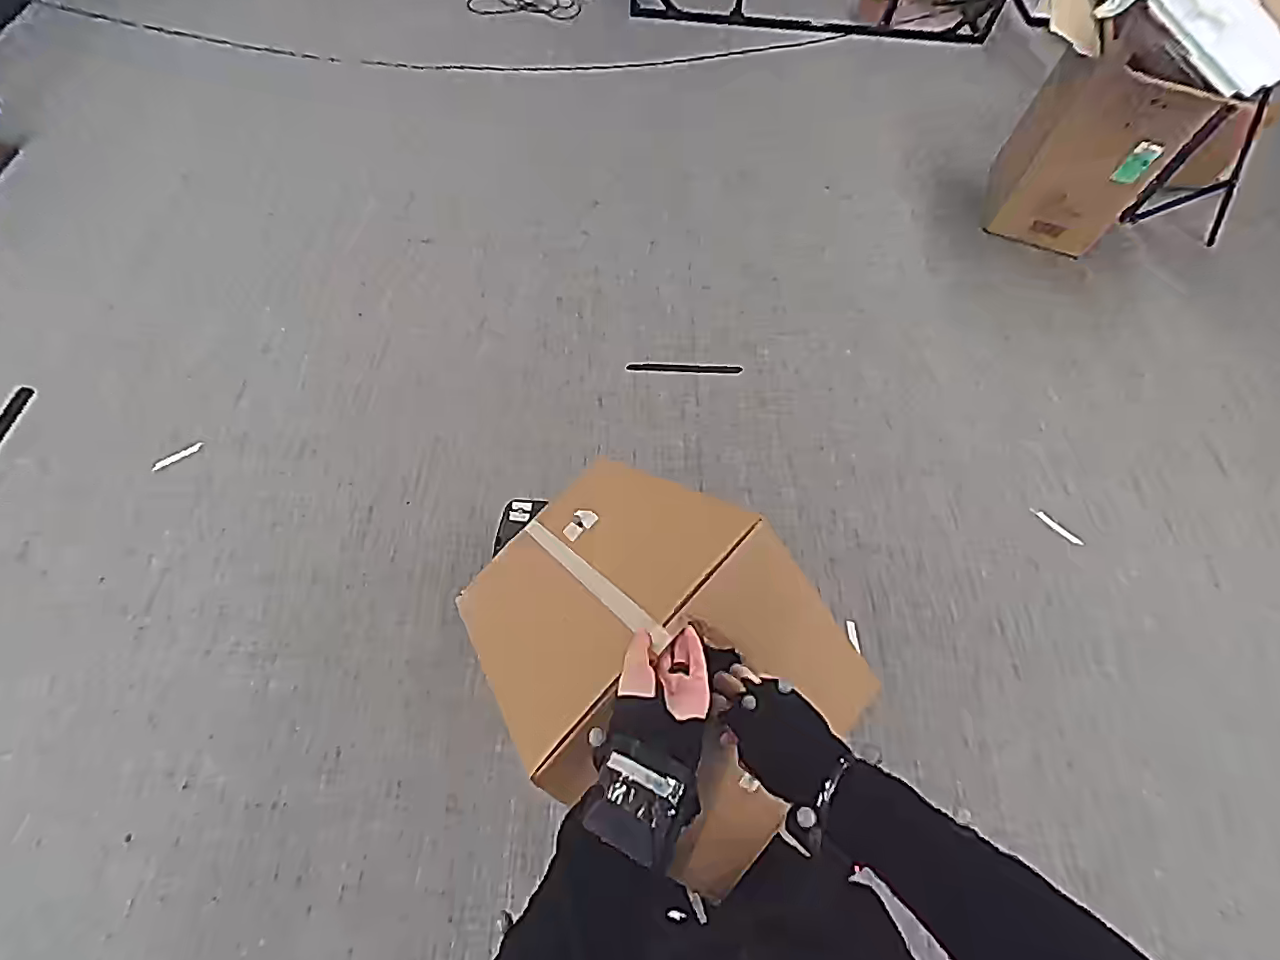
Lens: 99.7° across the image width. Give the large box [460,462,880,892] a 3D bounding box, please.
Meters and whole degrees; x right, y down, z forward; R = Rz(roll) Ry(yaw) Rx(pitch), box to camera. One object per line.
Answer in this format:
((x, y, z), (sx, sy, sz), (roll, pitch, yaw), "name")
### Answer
((0.016, 0.211, 0.717), (0.320, 0.408, 0.320), (-46, 116, -13), "large box")
